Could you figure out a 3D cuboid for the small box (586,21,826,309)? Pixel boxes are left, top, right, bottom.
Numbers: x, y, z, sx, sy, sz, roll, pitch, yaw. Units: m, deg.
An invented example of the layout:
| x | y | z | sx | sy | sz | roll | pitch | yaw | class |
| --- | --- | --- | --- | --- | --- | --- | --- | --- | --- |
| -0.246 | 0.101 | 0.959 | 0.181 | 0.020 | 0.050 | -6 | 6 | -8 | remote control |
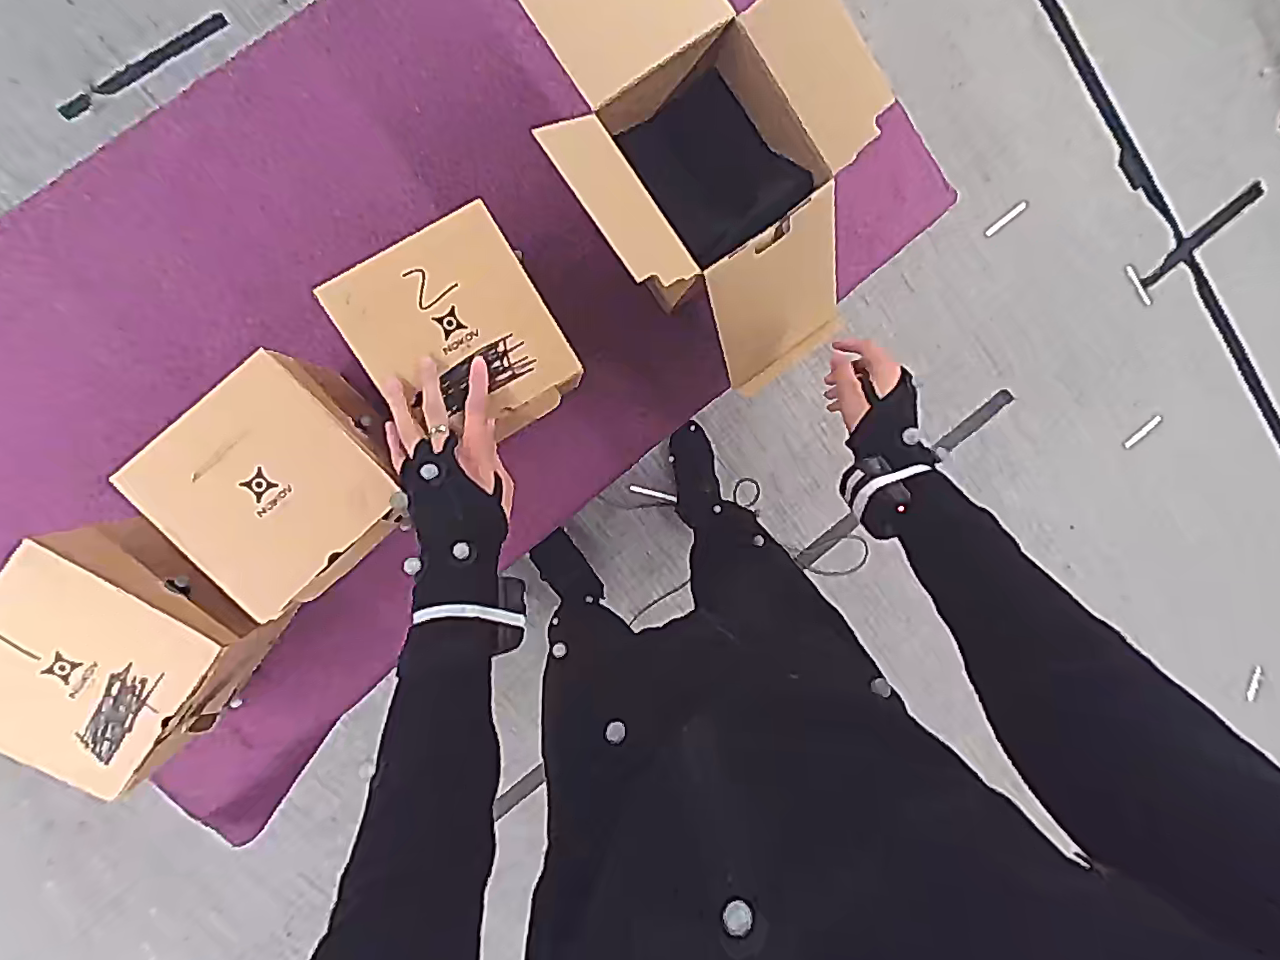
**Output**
| x | y | z | sx | sy | sz | roll | pitch | yaw | class |
| --- | --- | --- | --- | --- | --- | --- | --- | --- | --- |
| 0.054 | -0.313 | 0.581 | 0.168 | 0.176 | 0.179 | -37 | 99 | -4 | small box |
